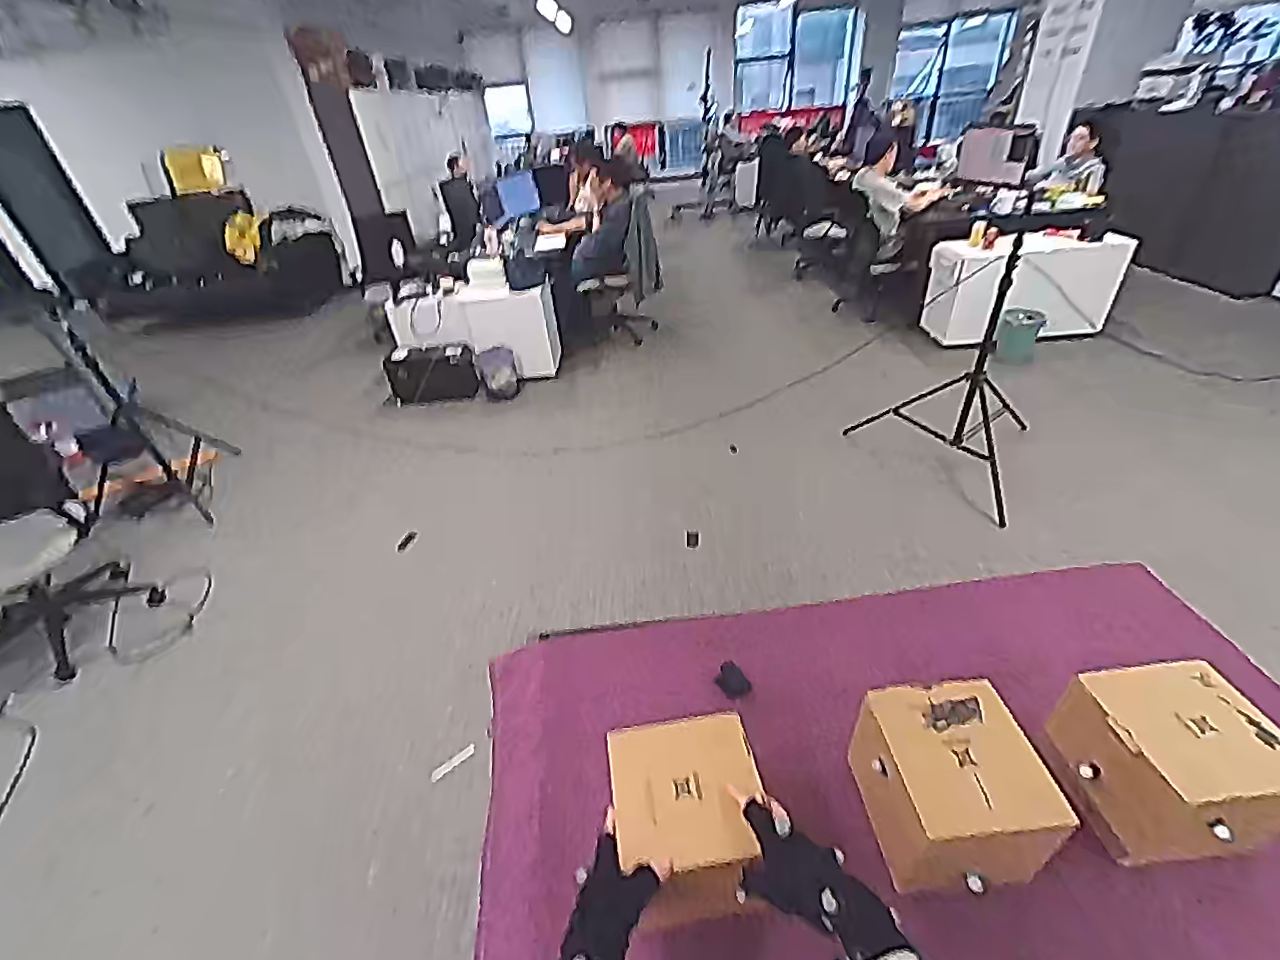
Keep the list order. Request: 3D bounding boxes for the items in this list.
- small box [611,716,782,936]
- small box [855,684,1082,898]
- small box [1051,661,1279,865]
[{"bbox_3d":[0.064,0.432,0.679,0.179,0.176,0.168,-9,33,-3],"label":"small box"},{"bbox_3d":[0.391,0.390,0.687,0.168,0.176,0.179,-6,35,0],"label":"small box"},{"bbox_3d":[0.670,0.360,0.689,0.179,0.176,0.168,-7,34,0],"label":"small box"}]
